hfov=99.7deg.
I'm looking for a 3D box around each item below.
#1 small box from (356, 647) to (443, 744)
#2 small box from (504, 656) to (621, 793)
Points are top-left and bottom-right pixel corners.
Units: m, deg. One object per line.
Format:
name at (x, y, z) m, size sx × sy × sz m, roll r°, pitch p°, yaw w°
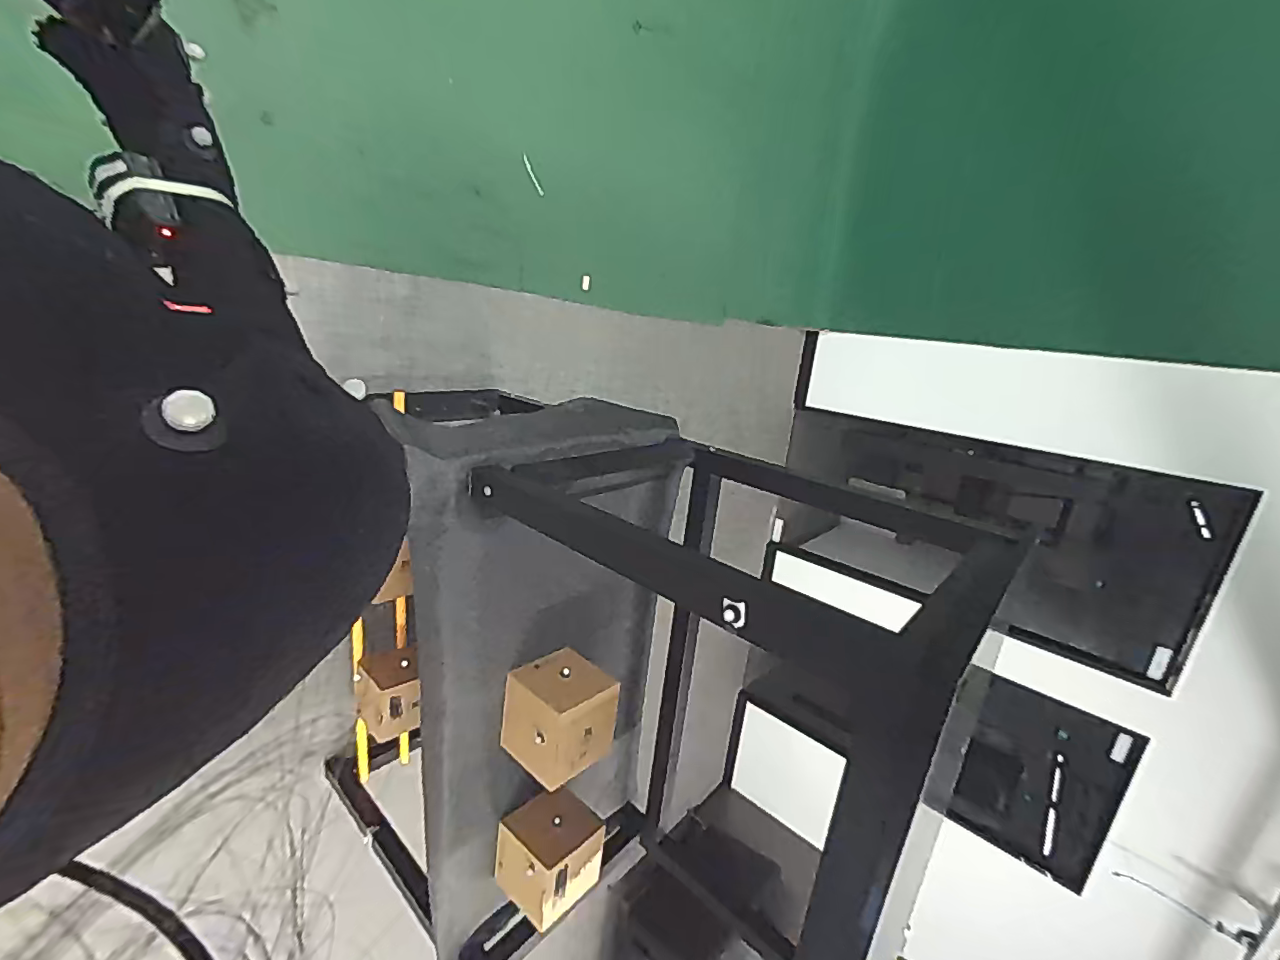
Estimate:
small box at (-0.689, 0.605, 1.541) m, size 0.179 × 0.176 × 0.168 m, roll -7°, pitch 110°, yaw -49°
small box at (-0.162, 0.486, 1.115) m, size 0.168 × 0.176 × 0.179 m, roll -8°, pitch 111°, yaw -49°
